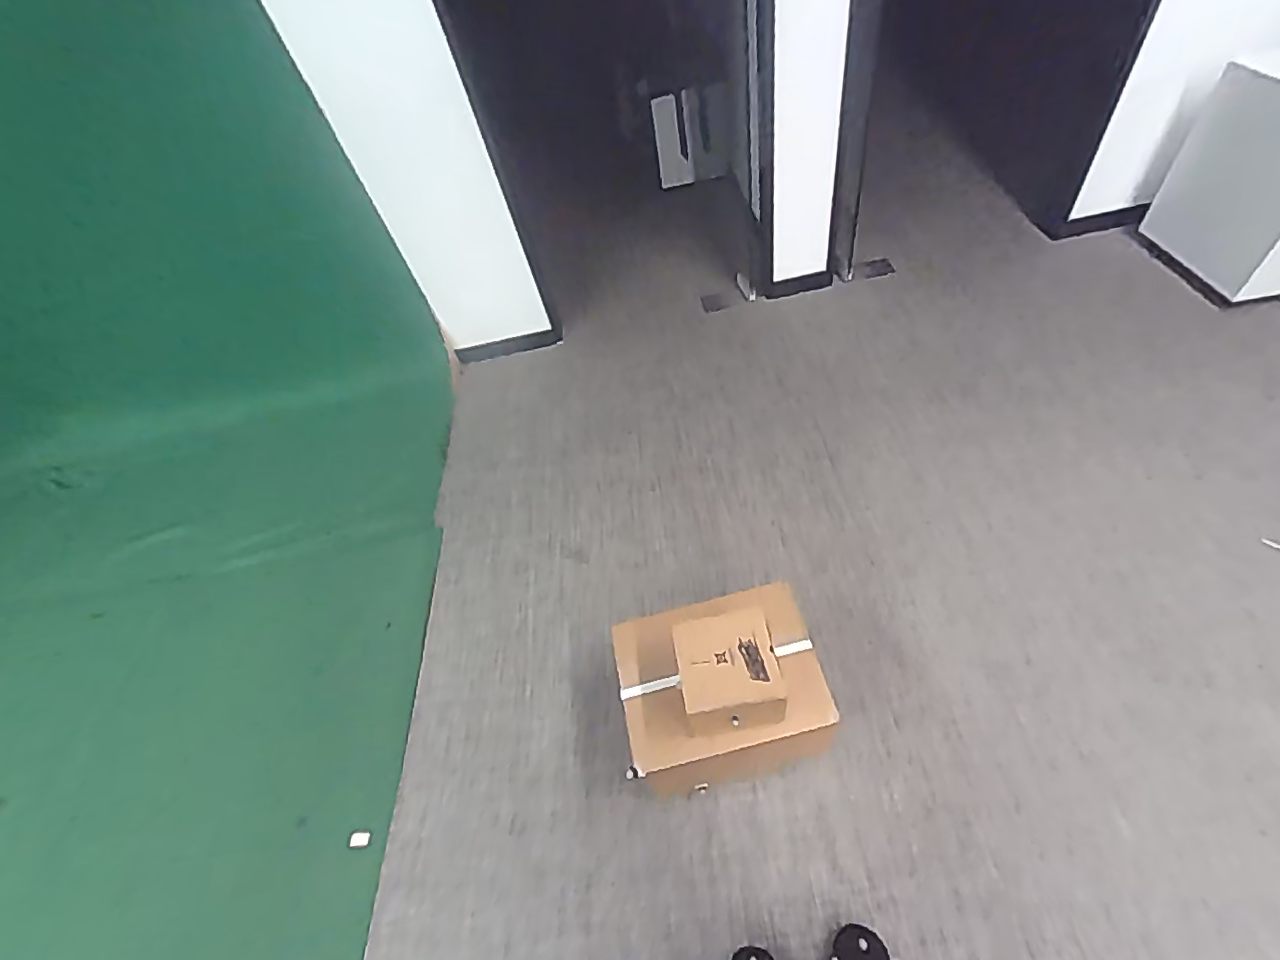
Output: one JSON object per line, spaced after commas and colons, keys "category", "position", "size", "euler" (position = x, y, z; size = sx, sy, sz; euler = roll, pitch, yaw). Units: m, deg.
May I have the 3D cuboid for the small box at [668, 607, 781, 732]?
{"category": "small box", "position": [0.160, 0.365, 1.034], "size": [0.179, 0.176, 0.168], "euler": [-12, 51, 4]}
